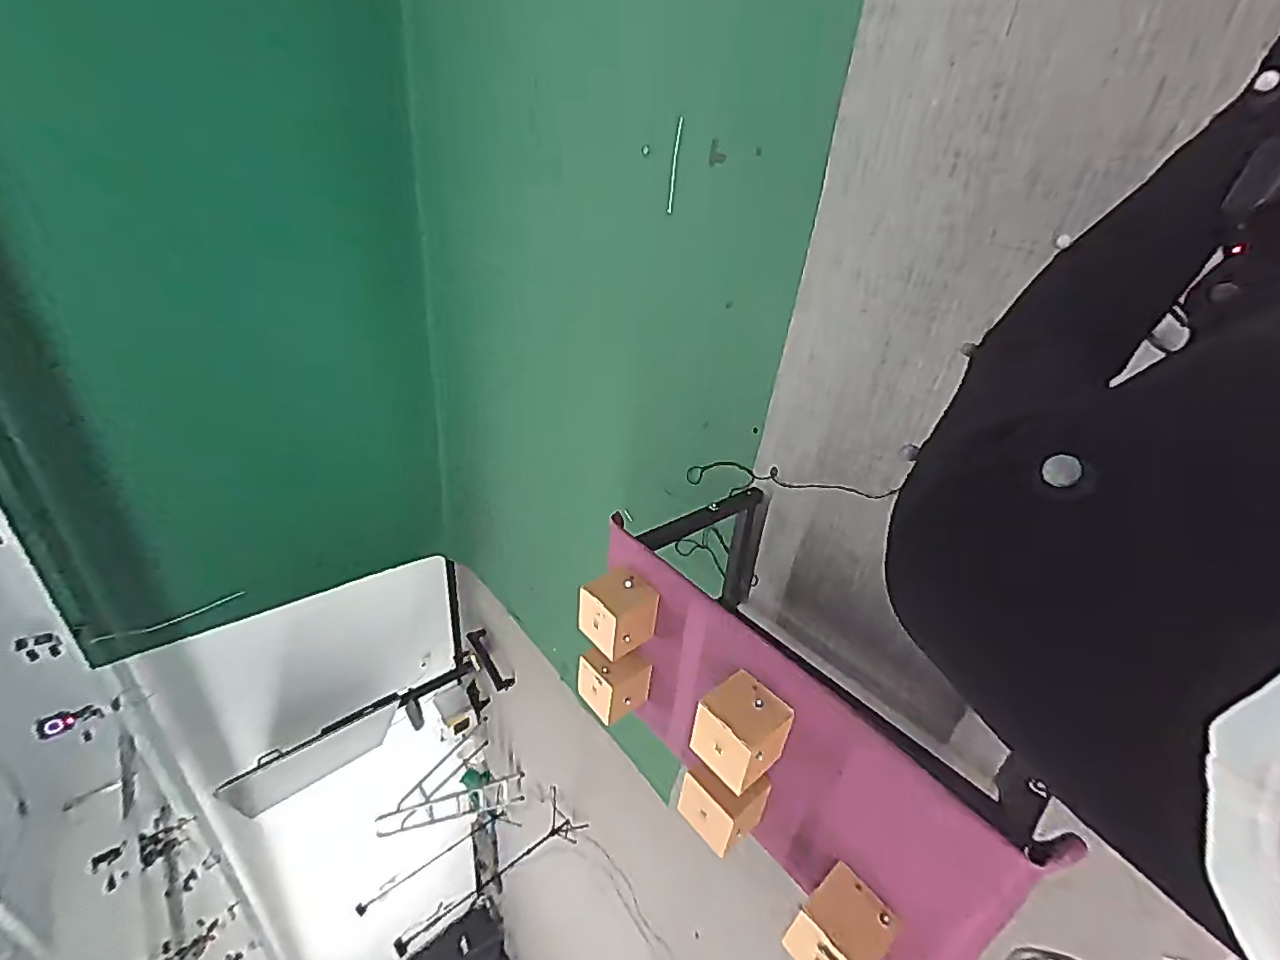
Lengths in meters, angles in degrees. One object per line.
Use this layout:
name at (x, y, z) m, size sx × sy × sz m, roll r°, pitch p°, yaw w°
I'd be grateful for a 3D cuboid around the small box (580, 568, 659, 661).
small box at (-0.062, 0.396, 1.613) m, size 0.168 × 0.176 × 0.179 m, roll 33°, pitch 129°, yaw 37°

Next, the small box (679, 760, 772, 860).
small box at (0.229, 0.852, 1.449) m, size 0.168 × 0.176 × 0.179 m, roll 33°, pitch 127°, yaw 38°

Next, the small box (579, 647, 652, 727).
small box at (-0.079, 0.642, 1.740) m, size 0.168 × 0.176 × 0.179 m, roll 32°, pitch 127°, yaw 39°

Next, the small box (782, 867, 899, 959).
small box at (0.460, 1.039, 1.232) m, size 0.168 × 0.176 × 0.179 m, roll 36°, pitch 129°, yaw 38°

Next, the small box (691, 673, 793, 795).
small box at (0.250, 0.615, 1.326) m, size 0.168 × 0.176 × 0.179 m, roll 33°, pitch 128°, yaw 40°
